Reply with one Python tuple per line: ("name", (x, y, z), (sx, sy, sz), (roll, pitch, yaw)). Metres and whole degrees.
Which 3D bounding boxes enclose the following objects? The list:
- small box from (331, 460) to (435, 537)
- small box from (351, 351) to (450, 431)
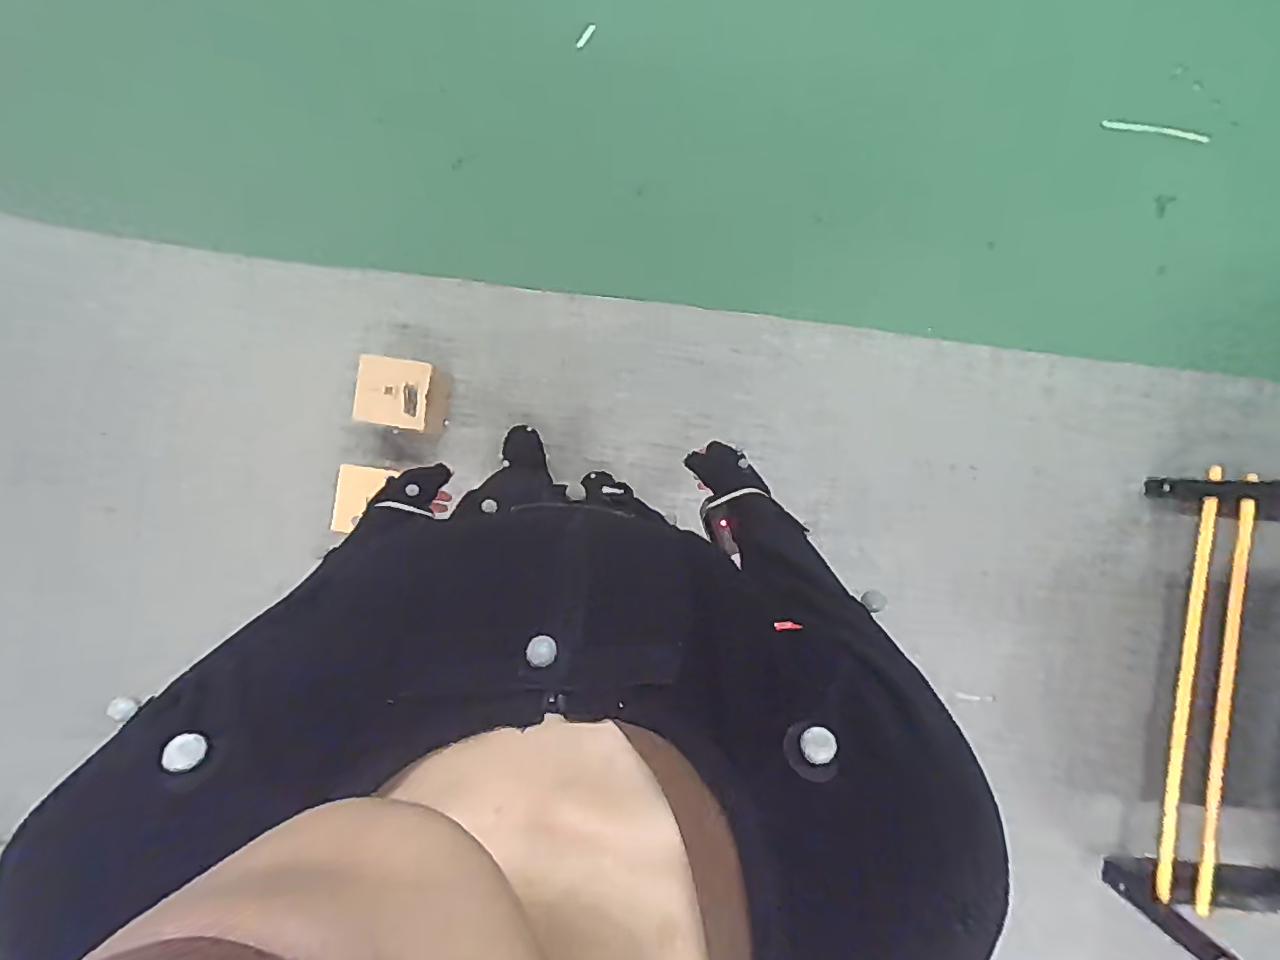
("small box", (-0.649, 0.045, 1.378), (0.179, 0.176, 0.168), (8, 91, -3))
("small box", (-0.599, -0.219, 1.375), (0.179, 0.176, 0.168), (8, 91, -2))
